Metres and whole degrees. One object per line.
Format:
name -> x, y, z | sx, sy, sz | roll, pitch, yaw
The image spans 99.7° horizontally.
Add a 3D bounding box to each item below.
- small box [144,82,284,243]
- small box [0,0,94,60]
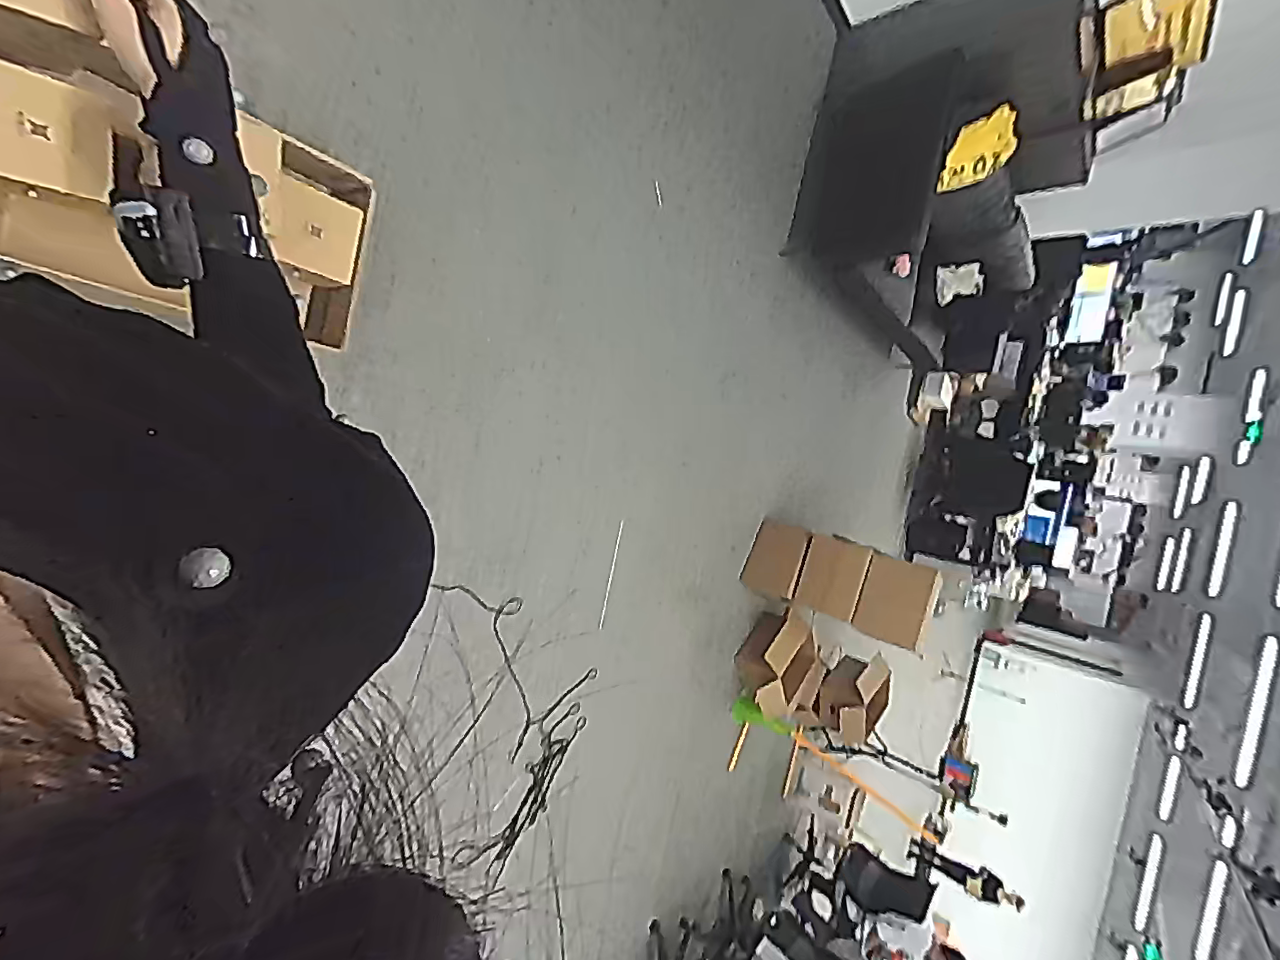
small box -> -0.737, -0.530, 0.934 | 0.168, 0.176, 0.179 | -2, 102, -48
small box -> -0.446, -0.373, 0.301 | 0.179, 0.176, 0.168 | -11, 115, -49
